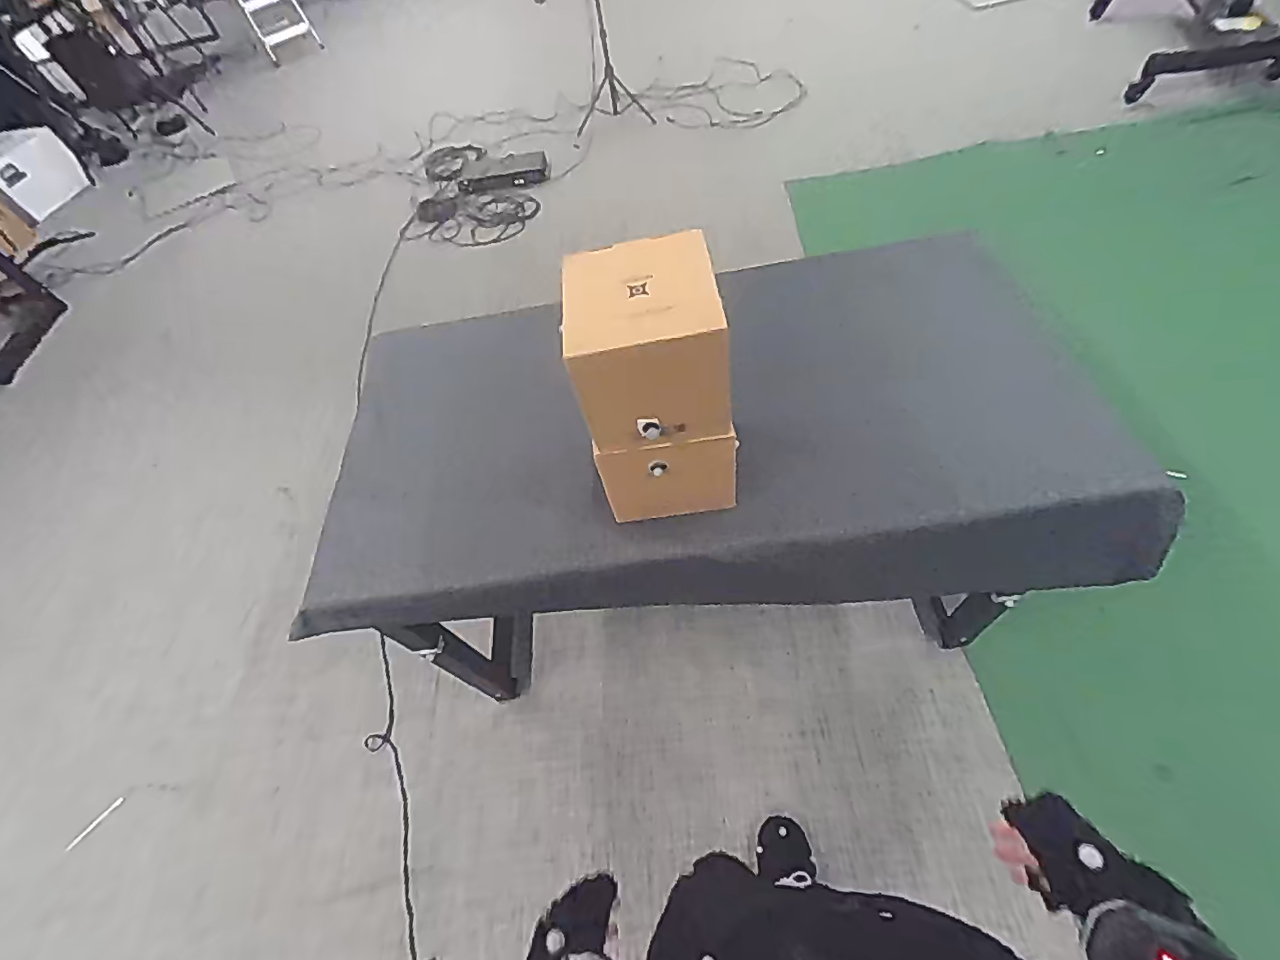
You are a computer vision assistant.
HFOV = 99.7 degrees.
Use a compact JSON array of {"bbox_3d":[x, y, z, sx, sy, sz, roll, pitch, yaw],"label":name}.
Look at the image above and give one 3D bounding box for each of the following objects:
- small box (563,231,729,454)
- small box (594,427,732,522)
[{"bbox_3d":[0.009,-0.158,0.643,0.168,0.176,0.179,-11,56,5],"label":"small box"},{"bbox_3d":[0.035,-0.053,0.786,0.179,0.176,0.168,-8,56,4],"label":"small box"}]
